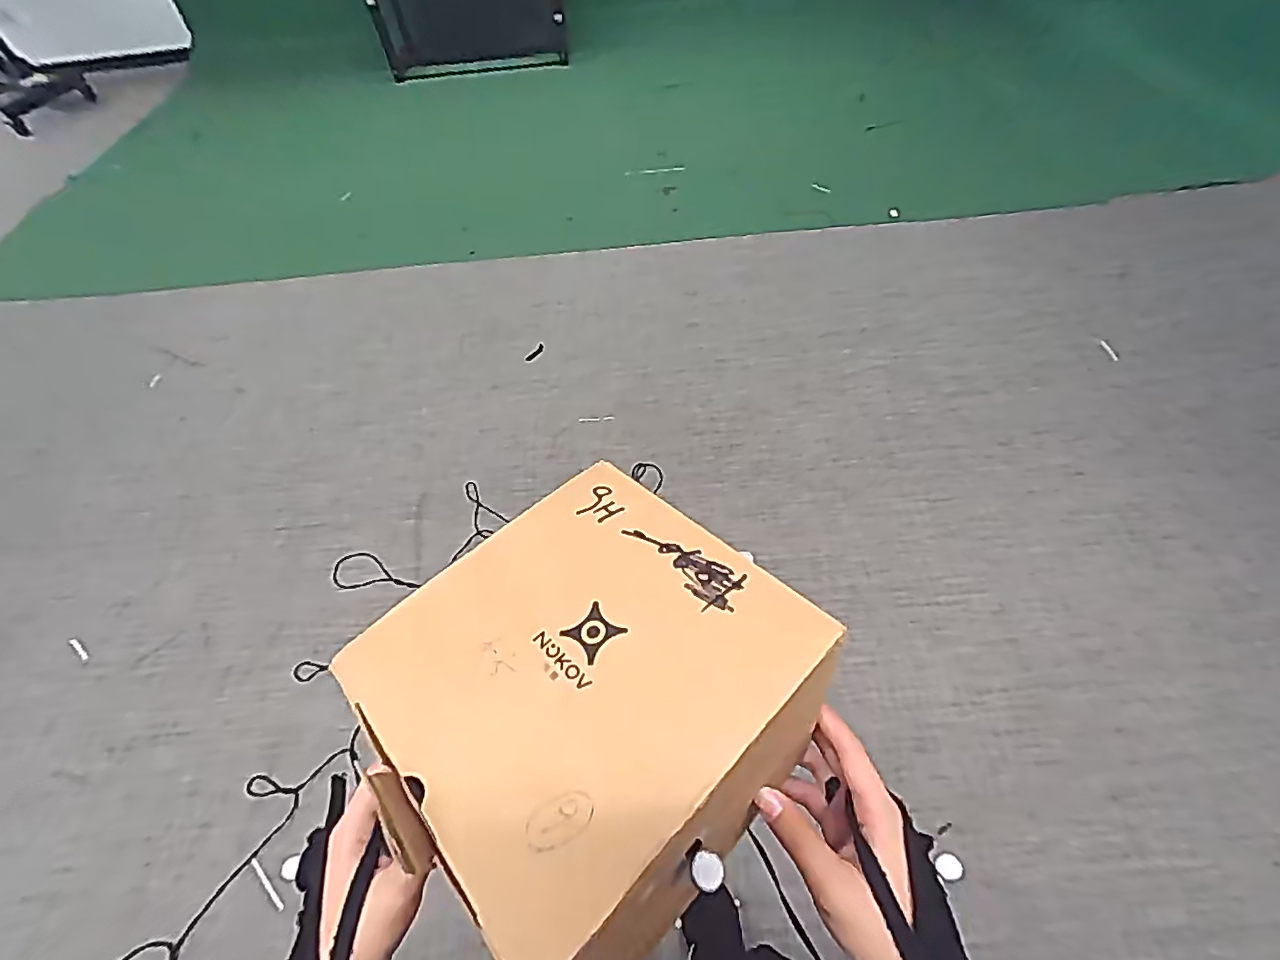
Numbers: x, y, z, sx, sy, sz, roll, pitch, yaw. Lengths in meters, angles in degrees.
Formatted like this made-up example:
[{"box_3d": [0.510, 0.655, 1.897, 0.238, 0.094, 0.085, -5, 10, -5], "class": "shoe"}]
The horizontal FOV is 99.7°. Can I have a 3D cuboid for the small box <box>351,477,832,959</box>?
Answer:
[{"box_3d": [-0.017, 0.138, 0.311, 0.179, 0.176, 0.168, -38, 53, -25], "class": "small box"}]
